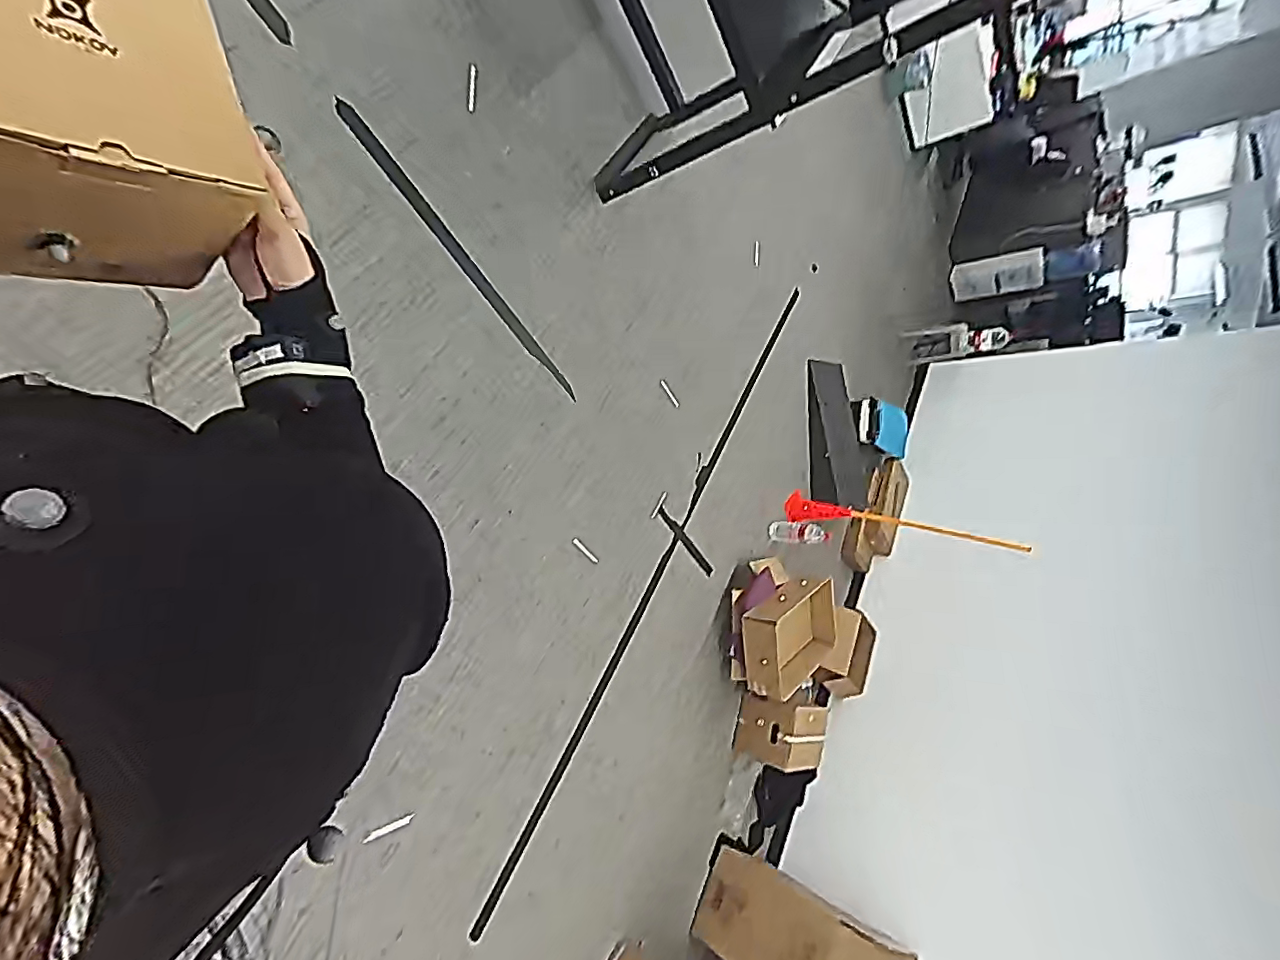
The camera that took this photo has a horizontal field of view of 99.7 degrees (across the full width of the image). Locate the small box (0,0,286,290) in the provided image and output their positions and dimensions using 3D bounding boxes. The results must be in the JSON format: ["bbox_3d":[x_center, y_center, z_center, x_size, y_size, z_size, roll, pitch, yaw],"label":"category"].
[{"bbox_3d":[-0.387,-0.254,0.366,0.168,0.176,0.179,-20,94,-55],"label":"small box"}]
